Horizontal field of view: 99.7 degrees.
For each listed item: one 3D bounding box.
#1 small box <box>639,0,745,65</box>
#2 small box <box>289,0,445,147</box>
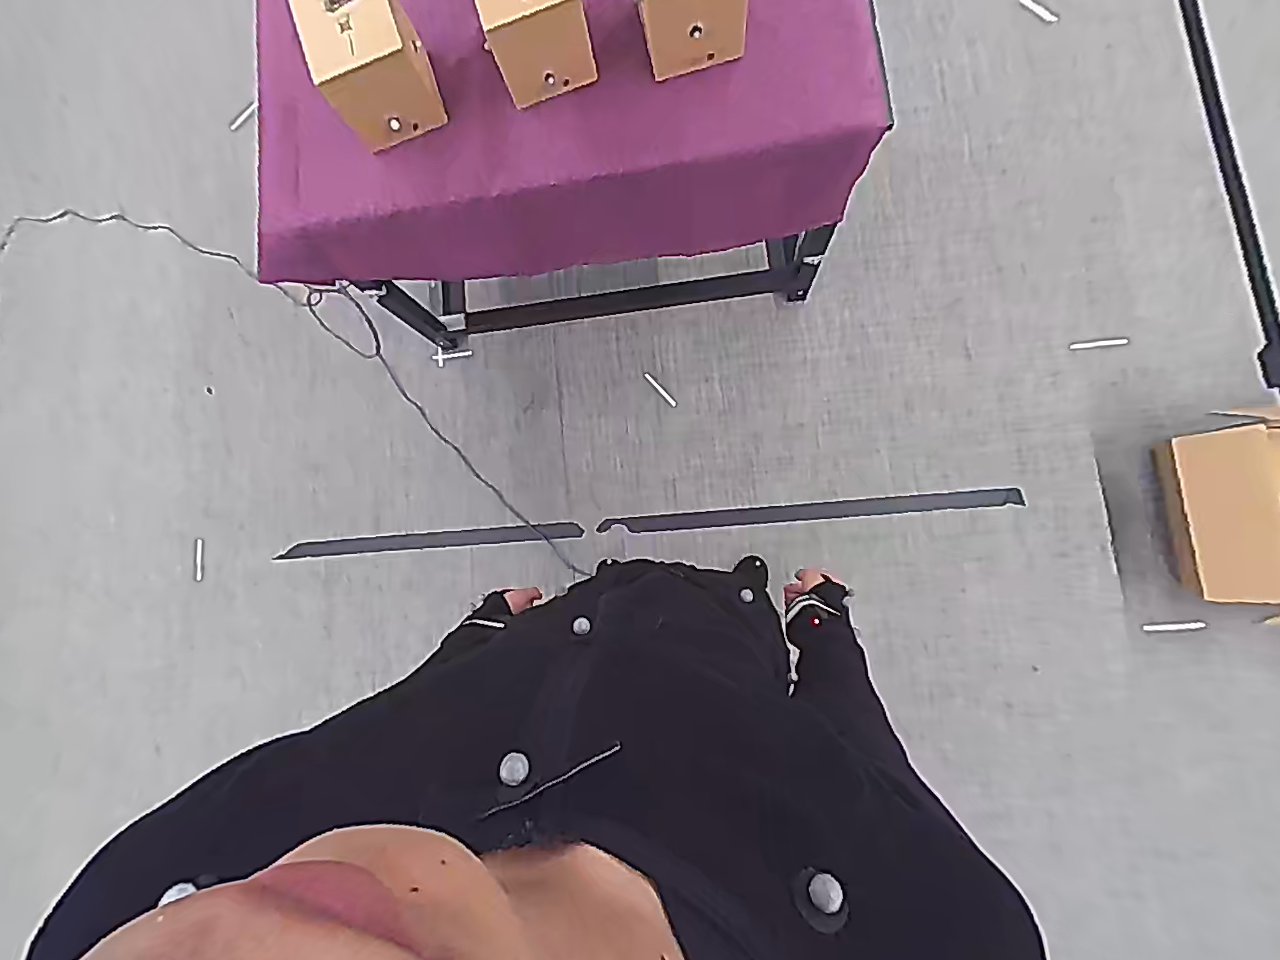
[{"bbox_3d":[0.082,-0.848,0.912,0.168,0.176,0.179,-12,82,5],"label":"small box"},{"bbox_3d":[-0.480,-0.752,0.971,0.168,0.176,0.179,-20,83,5],"label":"small box"}]
